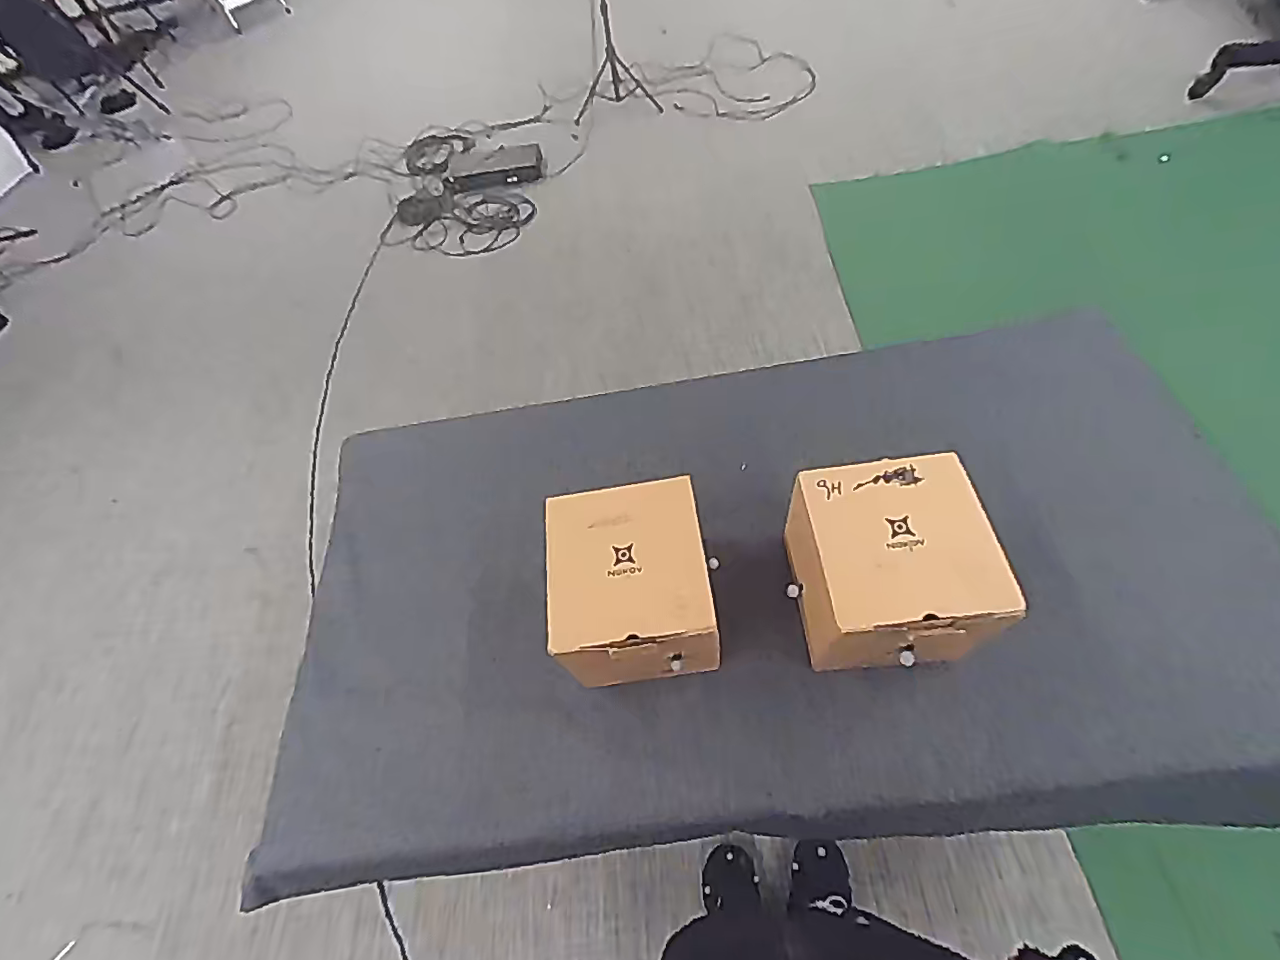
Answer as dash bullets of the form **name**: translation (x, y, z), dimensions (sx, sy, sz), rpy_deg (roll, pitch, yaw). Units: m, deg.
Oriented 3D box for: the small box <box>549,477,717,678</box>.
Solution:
- **small box**: translation (-0.004, 0.123, 0.633), dimensions (0.168, 0.176, 0.179), rpy_deg (-9, 57, 2)
